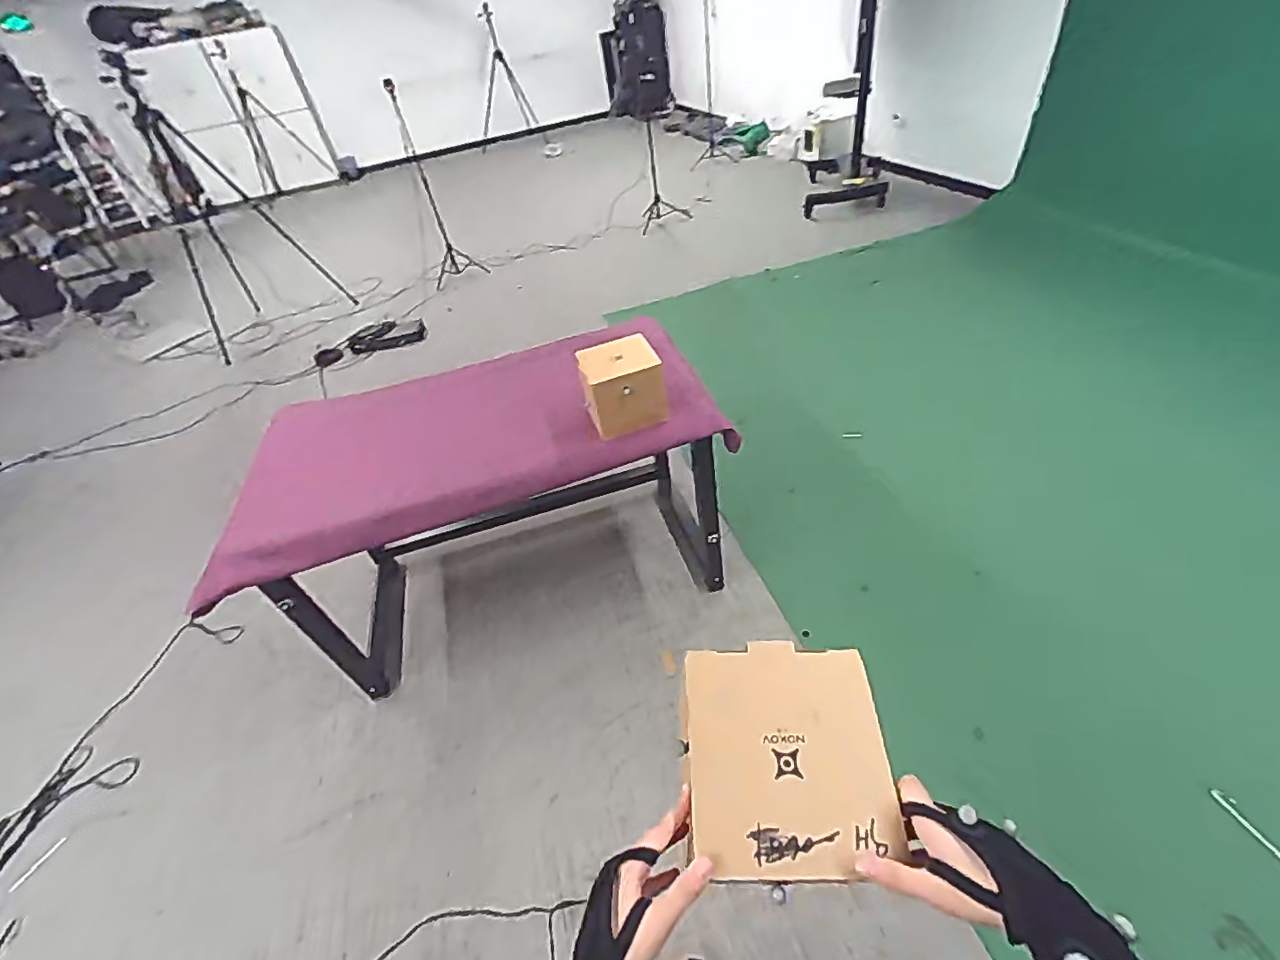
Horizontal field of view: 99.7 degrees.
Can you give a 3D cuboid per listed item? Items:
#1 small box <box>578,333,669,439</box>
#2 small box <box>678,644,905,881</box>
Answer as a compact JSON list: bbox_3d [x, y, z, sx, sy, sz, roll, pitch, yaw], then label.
[{"bbox_3d":[-0.036,-0.230,1.338,0.179,0.176,0.168,-20,44,-6],"label":"small box"},{"bbox_3d":[0.122,0.274,0.522,0.168,0.176,0.179,-2,52,2],"label":"small box"}]
